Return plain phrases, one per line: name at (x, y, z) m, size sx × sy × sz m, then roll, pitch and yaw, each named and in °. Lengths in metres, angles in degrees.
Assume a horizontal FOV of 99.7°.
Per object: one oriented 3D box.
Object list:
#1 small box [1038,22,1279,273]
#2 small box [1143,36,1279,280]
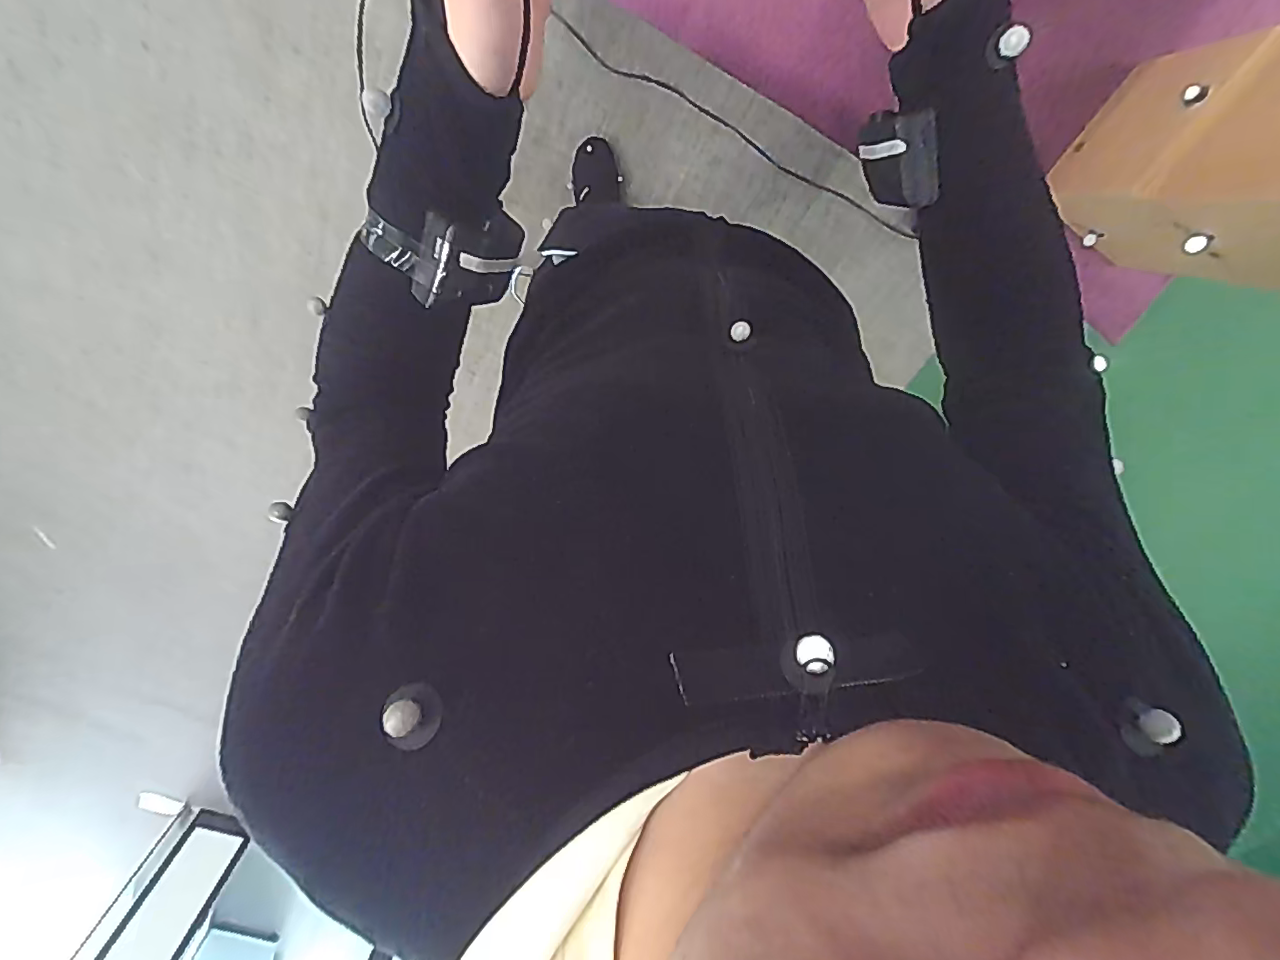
small box at (0.630, -0.371, 0.627) m, size 0.179 × 0.176 × 0.168 m, roll 28°, pitch 115°, yaw -14°
small box at (0.631, -0.296, 0.482) m, size 0.168 × 0.176 × 0.179 m, roll 29°, pitch 115°, yaw -12°
